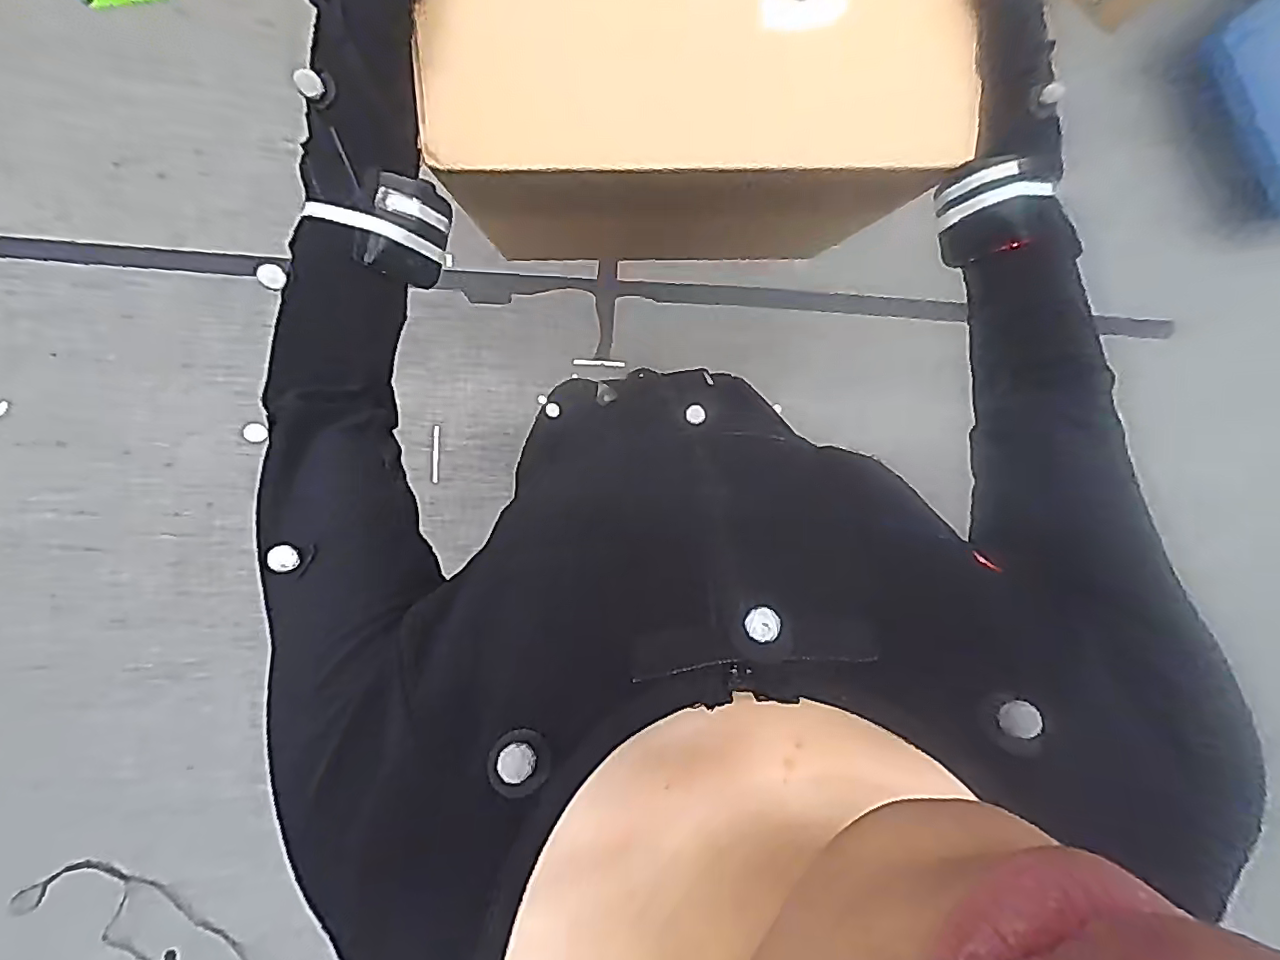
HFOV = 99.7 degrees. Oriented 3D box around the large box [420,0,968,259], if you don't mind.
[{"bbox_3d":[0.030,-0.415,0.524,0.408,0.320,0.320,-2,101,-4],"label":"large box"}]
